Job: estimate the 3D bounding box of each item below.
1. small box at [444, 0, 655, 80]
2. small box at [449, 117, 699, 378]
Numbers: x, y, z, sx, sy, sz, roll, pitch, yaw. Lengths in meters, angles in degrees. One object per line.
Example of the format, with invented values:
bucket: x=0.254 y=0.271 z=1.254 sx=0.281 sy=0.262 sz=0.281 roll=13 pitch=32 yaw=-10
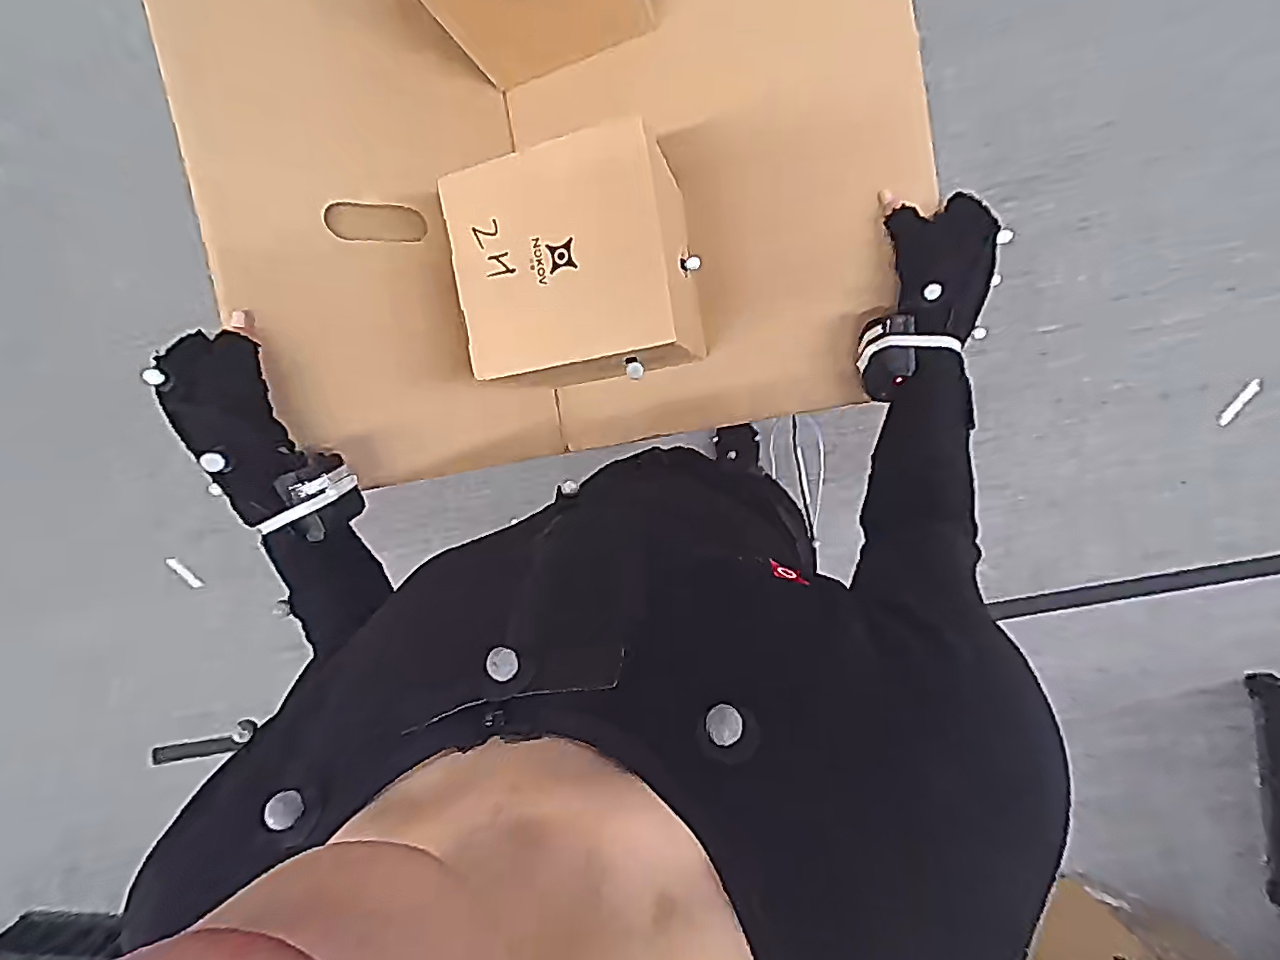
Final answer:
small box: x=-0.099 y=-0.506 z=0.480 sx=0.179 sy=0.176 sz=0.168 roll=-10 pitch=95 yaw=15
small box: x=-0.044 y=-0.192 z=0.506 sx=0.179 sy=0.176 sz=0.168 roll=-7 pitch=95 yaw=16
